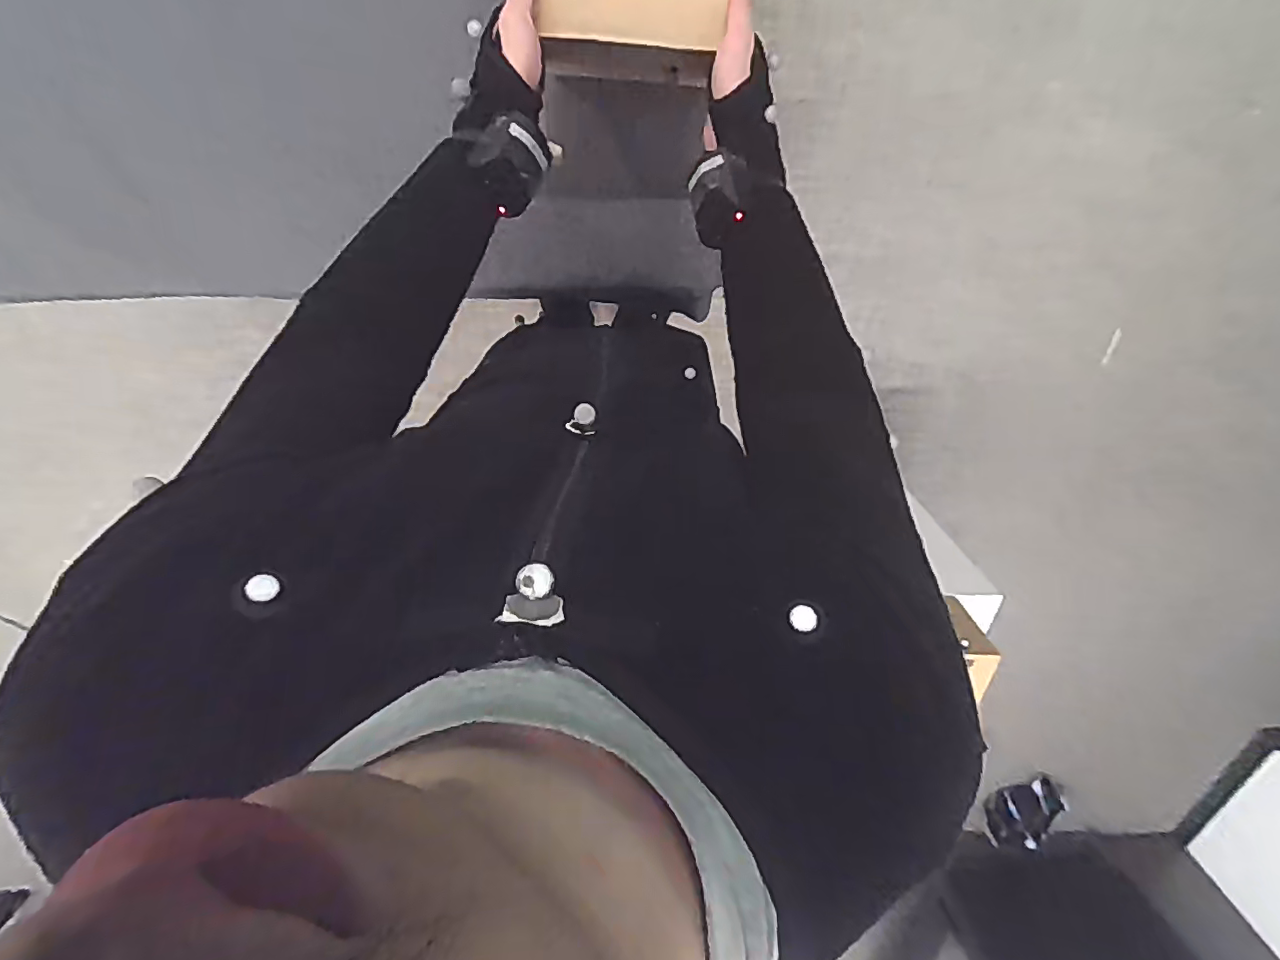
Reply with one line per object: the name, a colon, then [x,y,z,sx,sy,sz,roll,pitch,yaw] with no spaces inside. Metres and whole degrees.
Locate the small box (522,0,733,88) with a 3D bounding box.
small box: [-0.006,-0.475,0.492,0.179,0.176,0.168,3,117,0]

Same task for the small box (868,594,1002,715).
small box: [0.600,0.363,1.130,0.168,0.176,0.179,1,121,-2]
